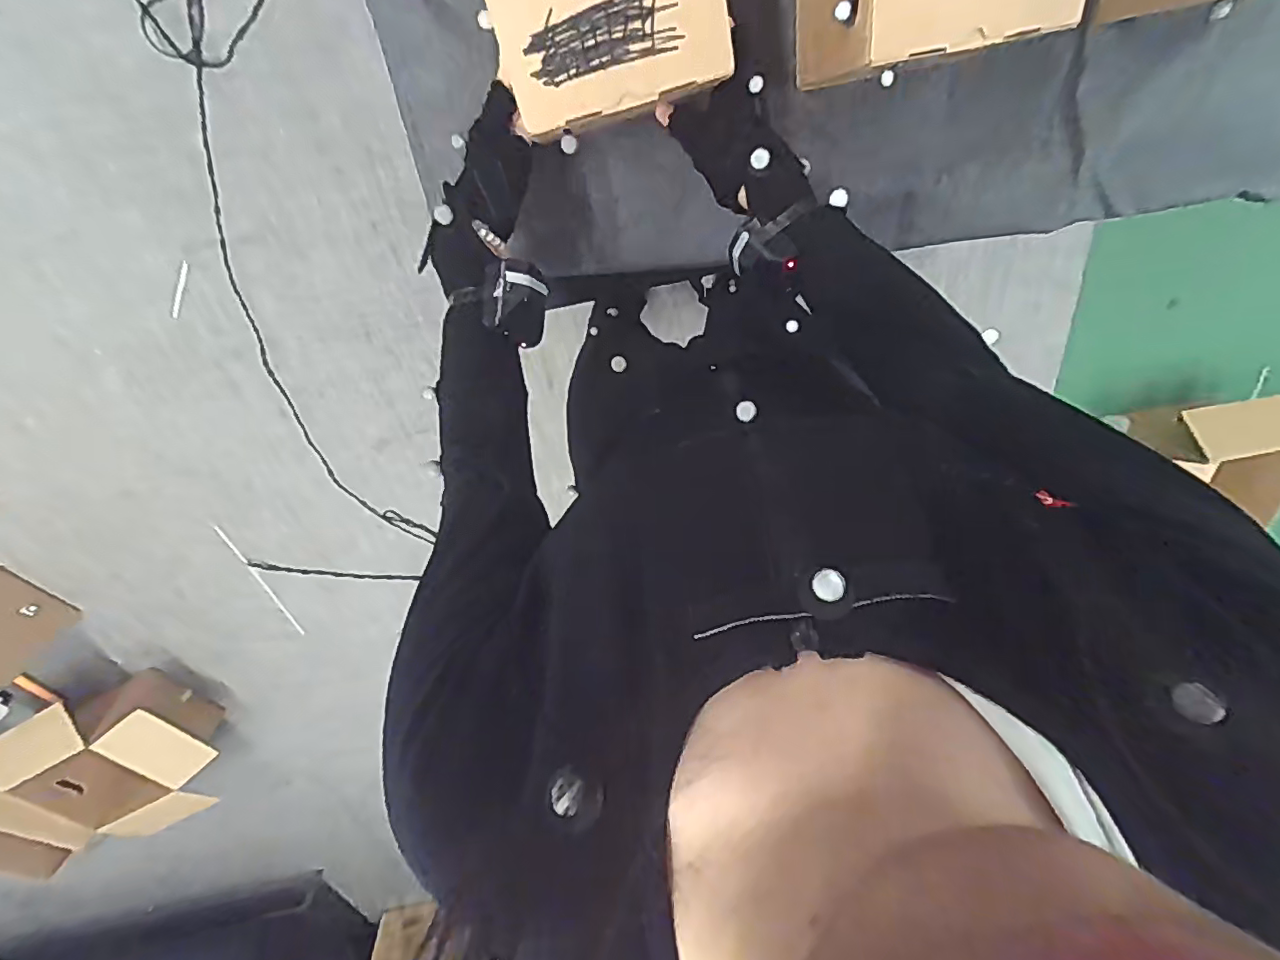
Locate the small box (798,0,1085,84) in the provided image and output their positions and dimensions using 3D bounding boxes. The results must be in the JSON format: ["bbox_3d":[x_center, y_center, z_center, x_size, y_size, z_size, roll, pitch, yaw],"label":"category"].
[{"bbox_3d":[0.235,-0.447,0.437,0.168,0.176,0.179,-11,123,0],"label":"small box"}]

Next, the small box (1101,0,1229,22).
[{"bbox_3d":[0.528,-0.506,0.431,0.168,0.176,0.179,-10,122,0],"label":"small box"}]
